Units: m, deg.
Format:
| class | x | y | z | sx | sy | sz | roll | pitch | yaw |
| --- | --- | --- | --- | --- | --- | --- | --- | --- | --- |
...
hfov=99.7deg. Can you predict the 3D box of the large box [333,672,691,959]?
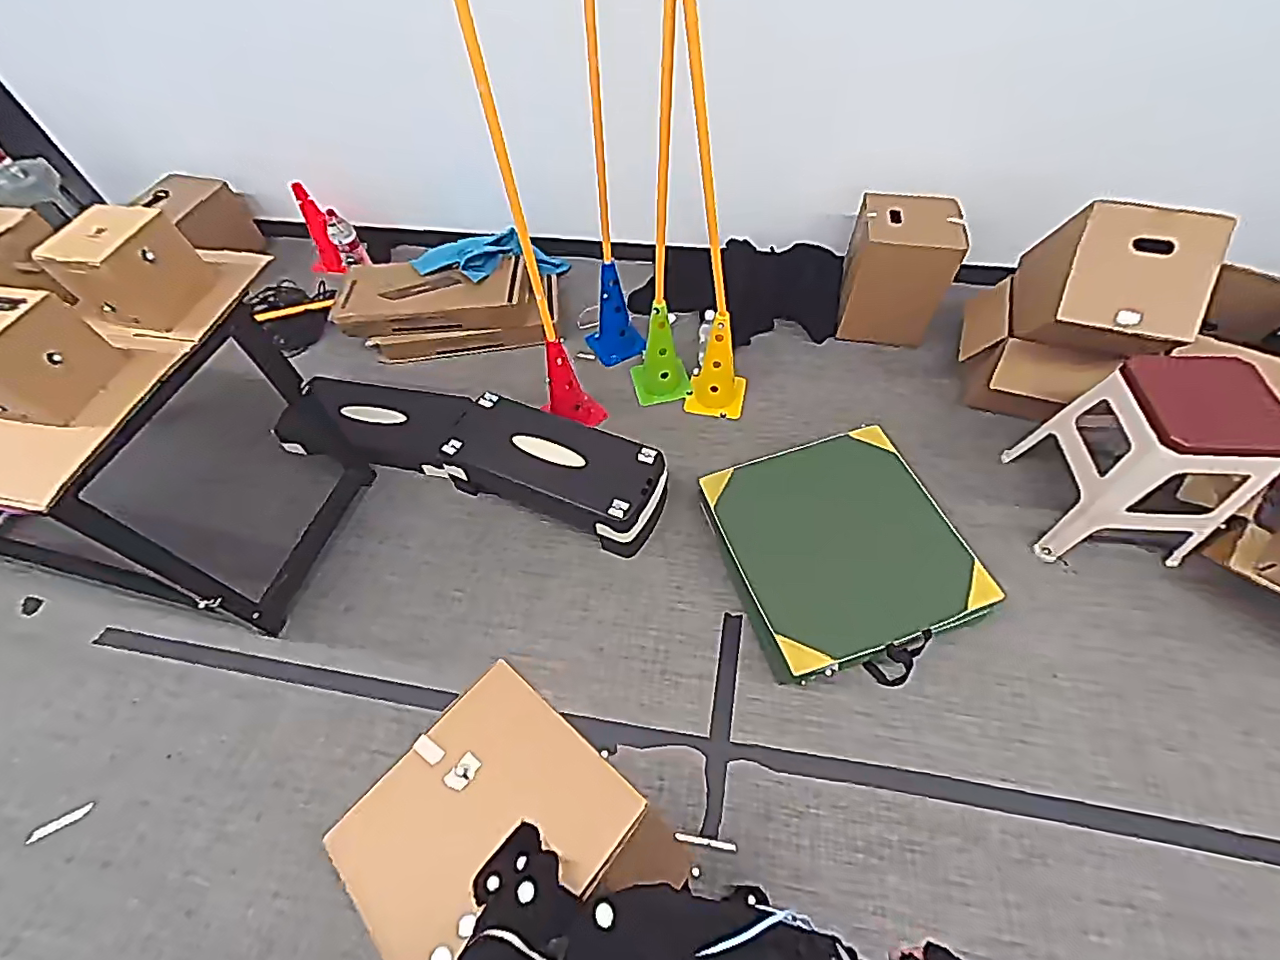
| class | x | y | z | sx | sy | sz | roll | pitch | yaw |
| --- | --- | --- | --- | --- | --- | --- | --- | --- | --- |
| large box | -0.162 | 0.569 | 0.825 | 0.320 | 0.408 | 0.320 | 29 | 61 | 36 |
